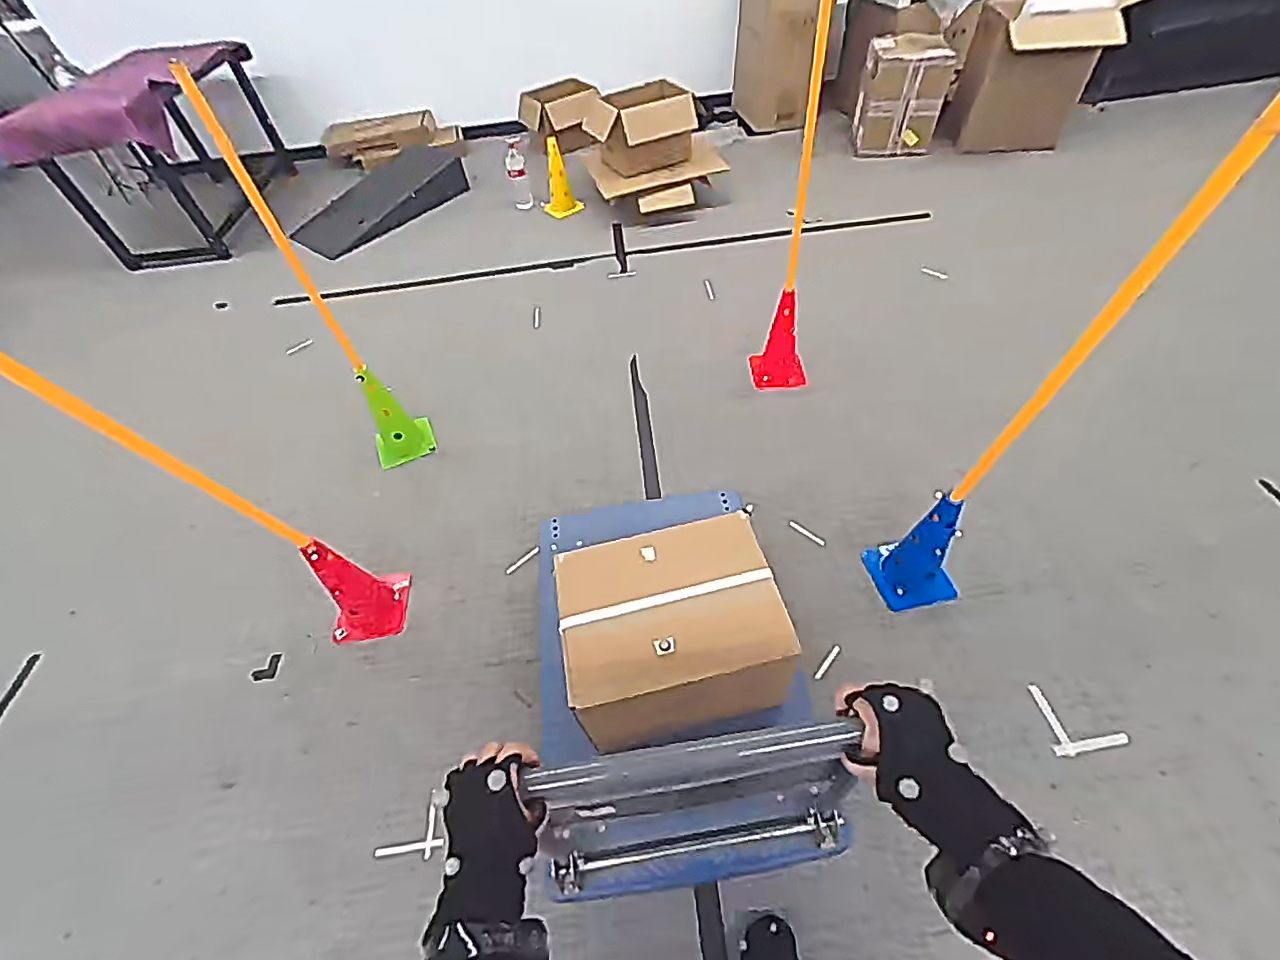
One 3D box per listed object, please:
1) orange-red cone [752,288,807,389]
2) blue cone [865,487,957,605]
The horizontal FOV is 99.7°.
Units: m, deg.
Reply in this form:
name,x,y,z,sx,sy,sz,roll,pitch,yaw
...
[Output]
name,x,y,z,sx,sy,sz,roll,pitch,yaw
orange-red cone,0.528,-0.530,1.966,0.199,0.360,0.198,-2,52,3
blue cone,0.747,0.157,1.409,0.193,0.380,0.192,-10,50,-3
